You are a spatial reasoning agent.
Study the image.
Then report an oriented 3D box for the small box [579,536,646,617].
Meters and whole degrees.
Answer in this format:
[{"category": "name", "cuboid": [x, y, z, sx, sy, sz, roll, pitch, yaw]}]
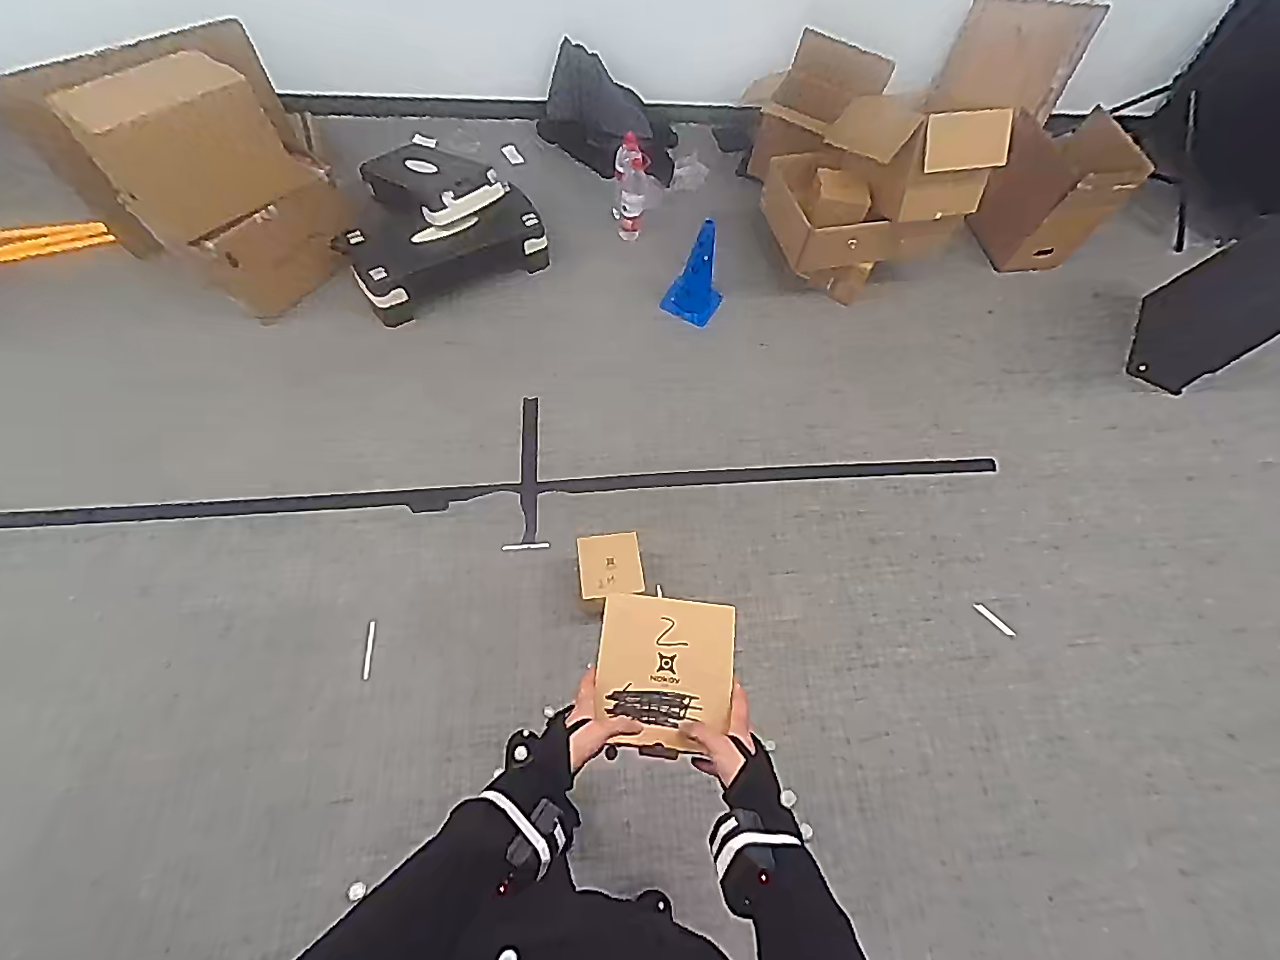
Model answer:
[{"category": "small box", "cuboid": [-0.083, 0.273, 1.515, 0.168, 0.176, 0.179, -5, 65, -8]}]
